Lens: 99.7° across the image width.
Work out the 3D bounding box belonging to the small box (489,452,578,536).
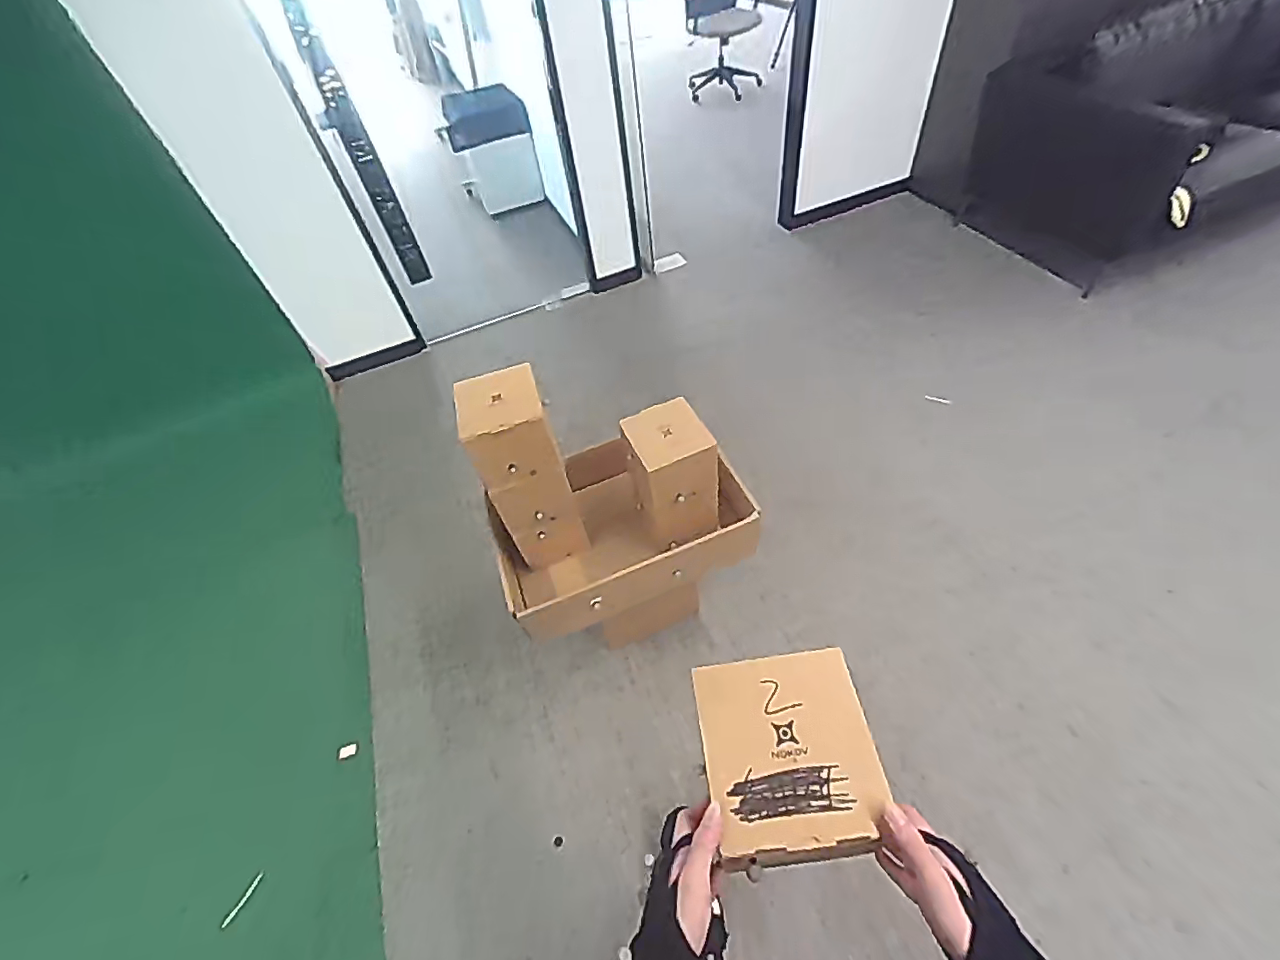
[{"bbox_3d":[-0.253,-0.001,1.259,0.168,0.176,0.179,-18,51,-6],"label":"small box"}]

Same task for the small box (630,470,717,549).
[{"bbox_3d":[0.090,0.055,1.375,0.168,0.176,0.179,-21,50,-9],"label":"small box"}]

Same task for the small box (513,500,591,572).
[{"bbox_3d":[-0.236,0.103,1.385,0.168,0.176,0.179,-19,51,-8],"label":"small box"}]

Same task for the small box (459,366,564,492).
[{"bbox_3d":[-0.268,-0.105,1.136,0.168,0.176,0.179,-17,51,-6],"label":"small box"}]

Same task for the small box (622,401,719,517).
[{"bbox_3d":[0.071,-0.047,1.249,0.168,0.176,0.179,-22,51,-9],"label":"small box"}]
